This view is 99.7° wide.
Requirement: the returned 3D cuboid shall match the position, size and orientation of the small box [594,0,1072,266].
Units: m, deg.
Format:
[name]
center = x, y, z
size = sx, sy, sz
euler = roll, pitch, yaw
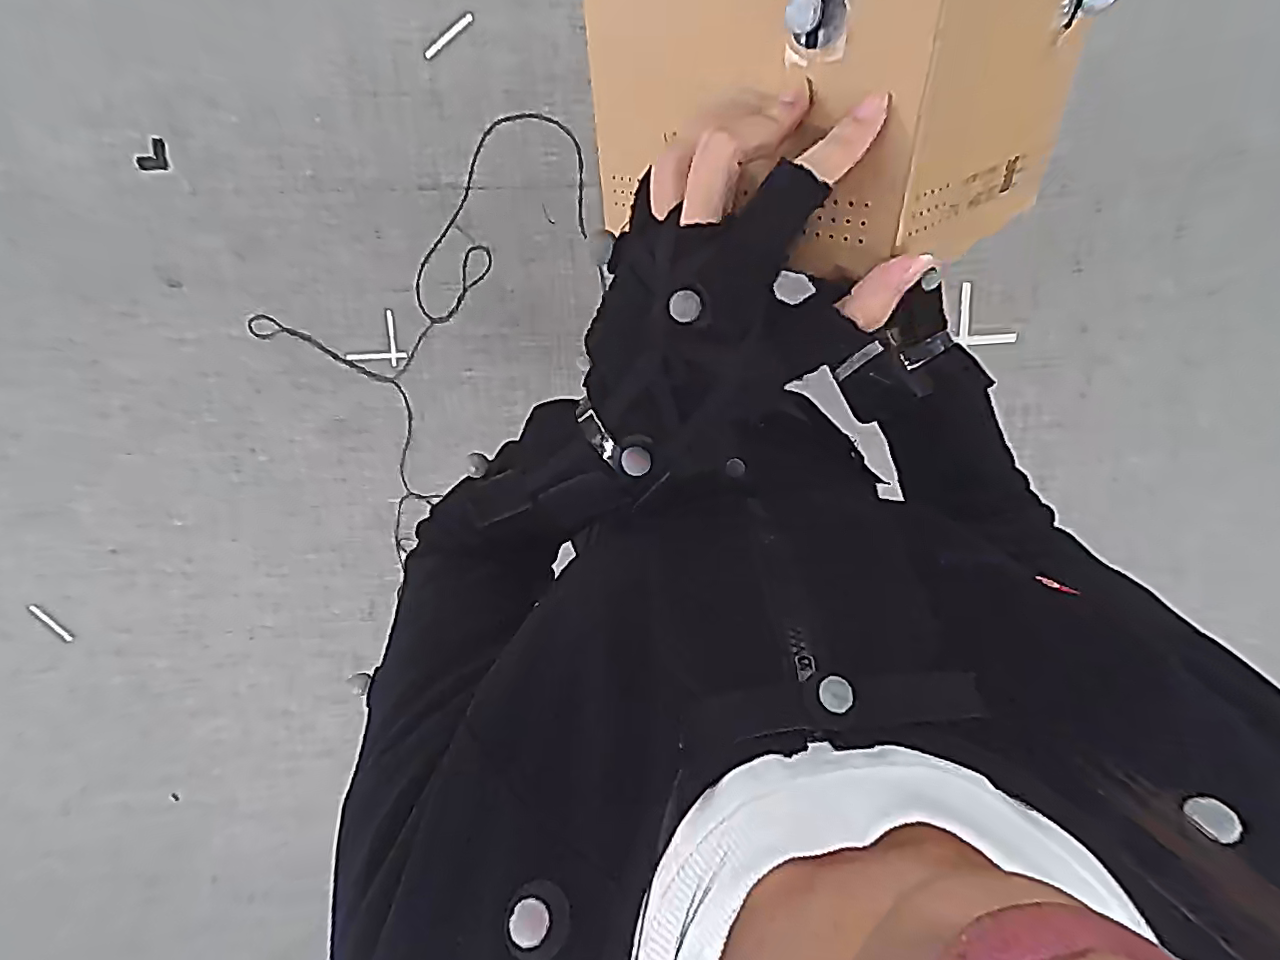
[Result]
[small box]
center = 0.095, -0.220, 0.274
size = 0.168, 0.179, 0.176
euler = -30, 134, -30
